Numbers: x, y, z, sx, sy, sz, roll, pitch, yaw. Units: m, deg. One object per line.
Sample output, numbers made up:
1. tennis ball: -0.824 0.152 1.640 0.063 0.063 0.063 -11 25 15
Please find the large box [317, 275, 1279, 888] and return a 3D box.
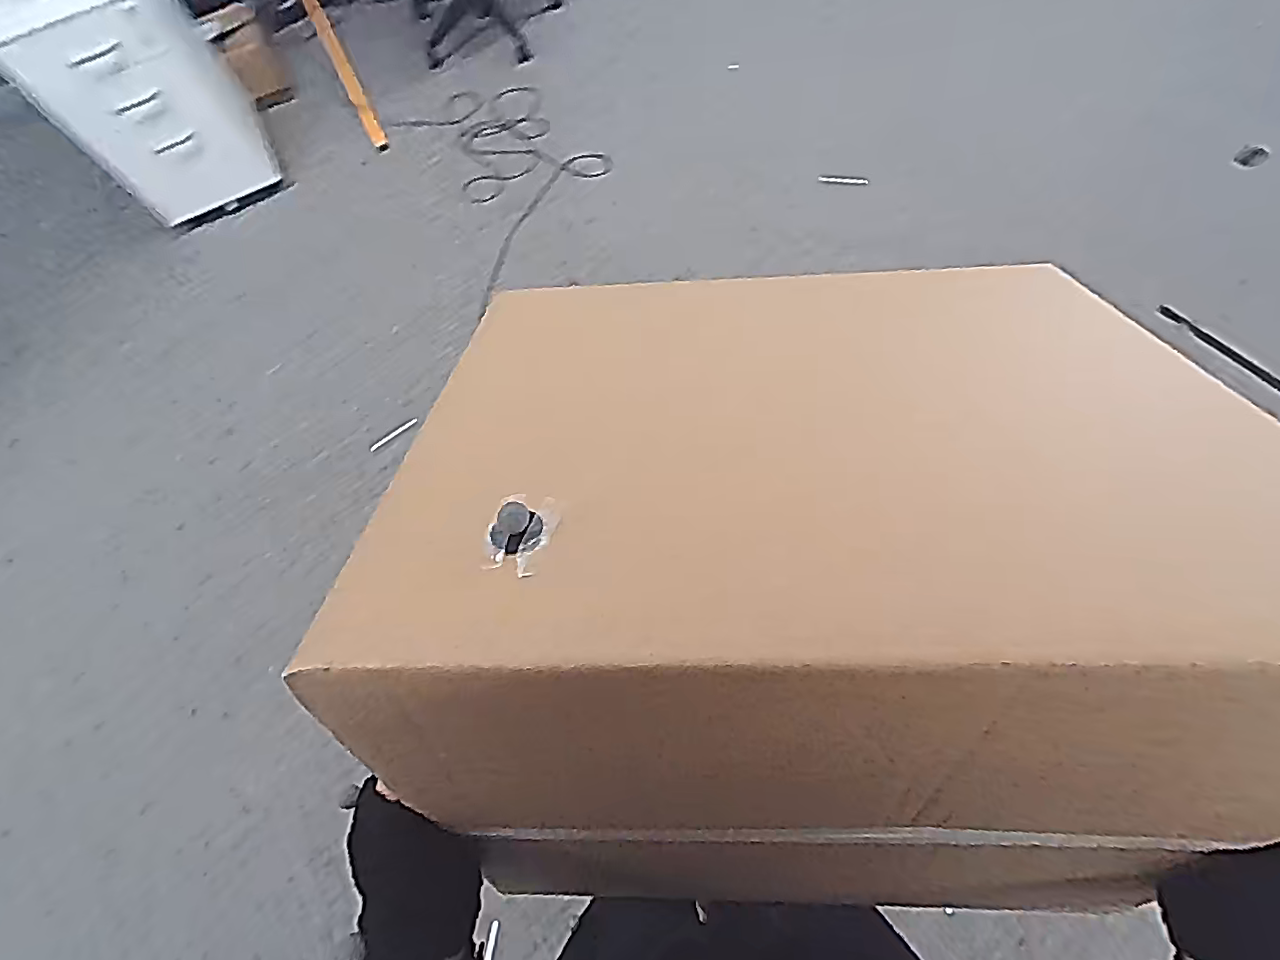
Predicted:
1. large box: 0.091 0.070 0.391 0.408 0.320 0.320 -3 42 4
